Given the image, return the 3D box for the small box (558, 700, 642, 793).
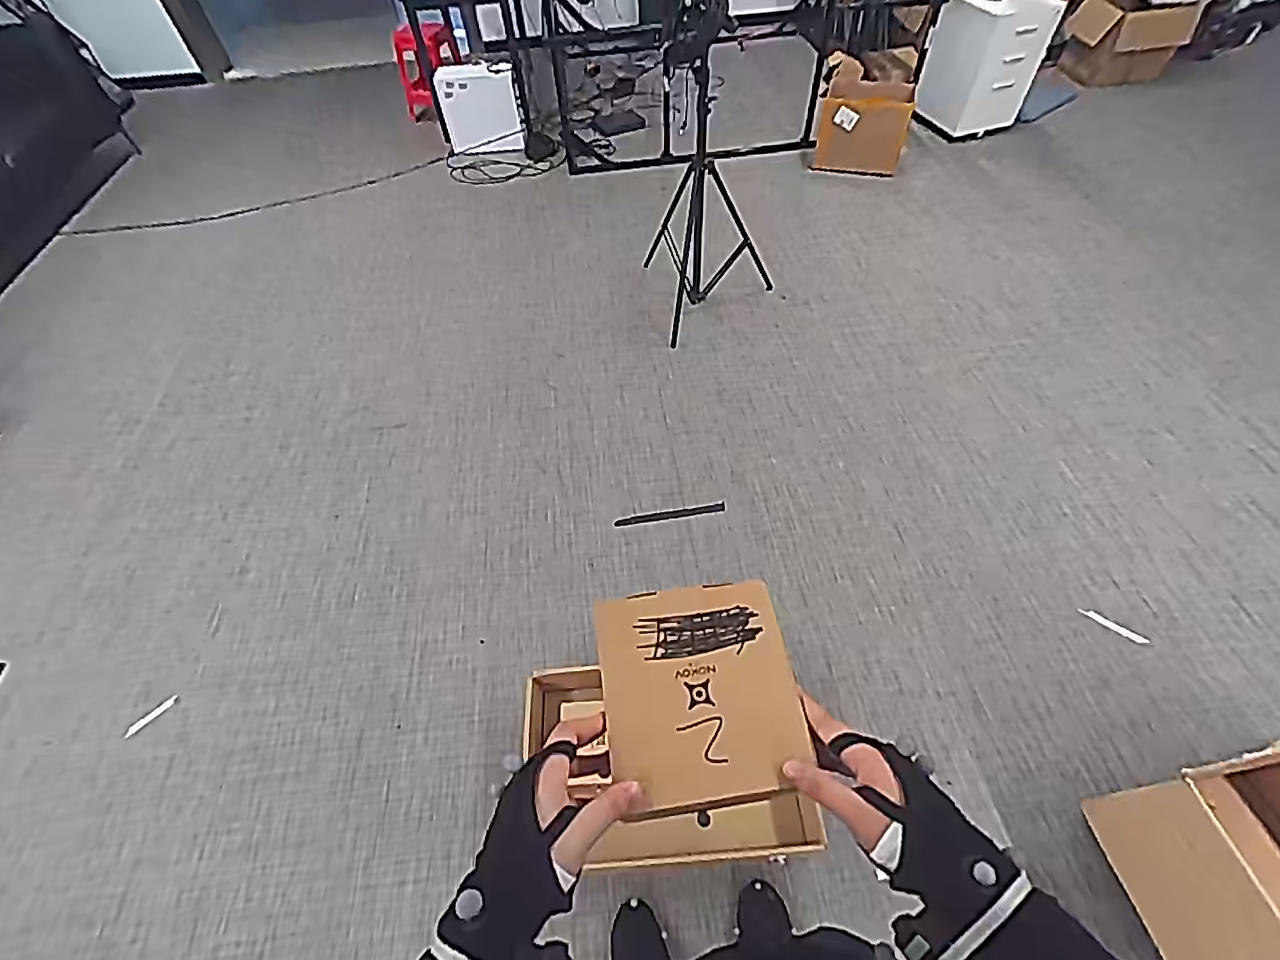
[{"bbox_3d":[-0.089,0.616,1.243,0.179,0.176,0.168,-3,56,-2],"label":"small box"}]
